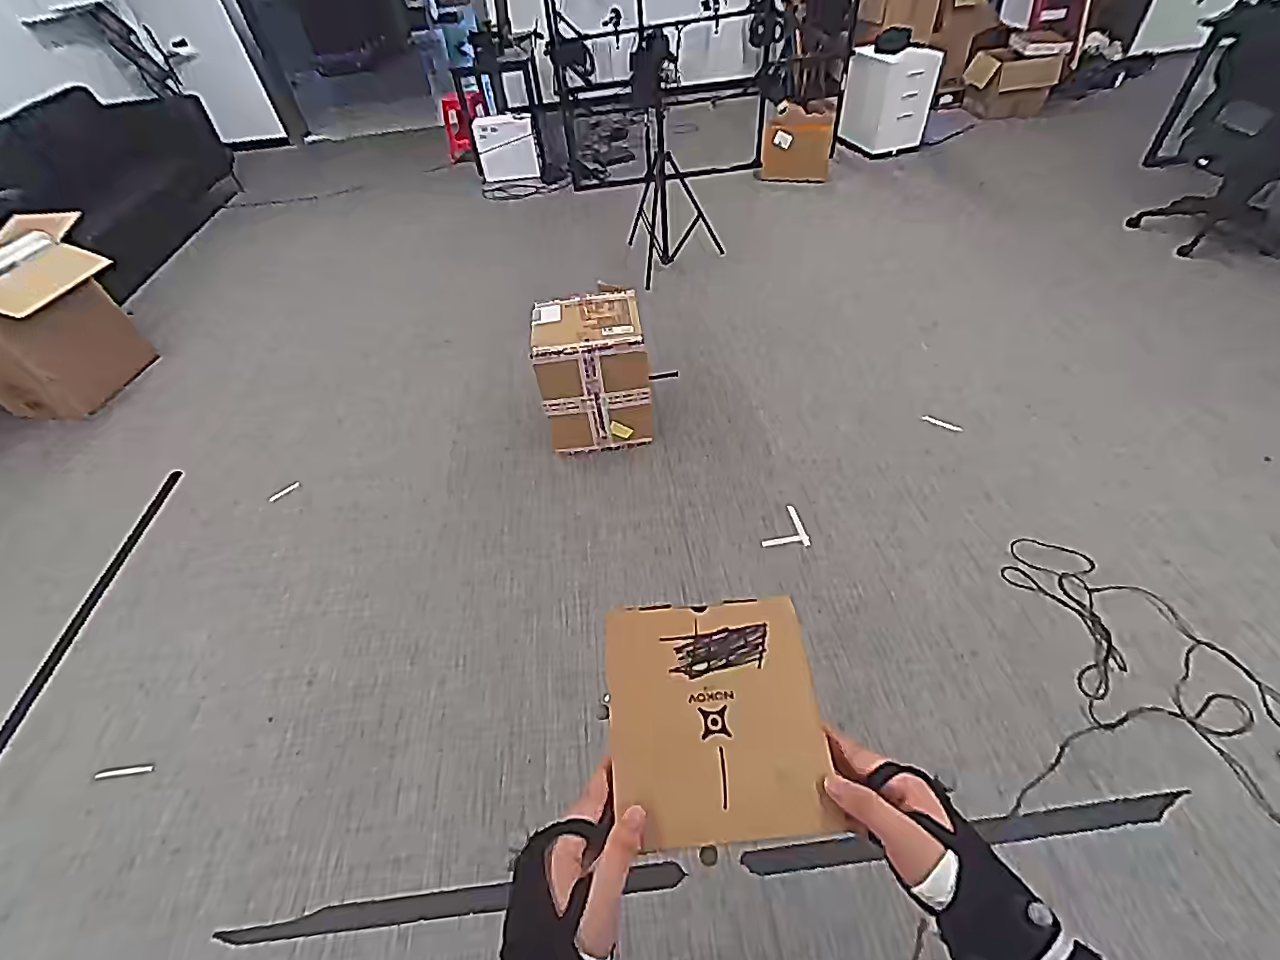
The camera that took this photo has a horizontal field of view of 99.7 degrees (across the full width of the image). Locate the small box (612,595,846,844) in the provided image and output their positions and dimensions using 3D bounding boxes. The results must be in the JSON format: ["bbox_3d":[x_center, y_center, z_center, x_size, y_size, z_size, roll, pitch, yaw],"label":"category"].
[{"bbox_3d":[0.060,0.221,0.493,0.168,0.176,0.179,-4,58,-2],"label":"small box"}]
